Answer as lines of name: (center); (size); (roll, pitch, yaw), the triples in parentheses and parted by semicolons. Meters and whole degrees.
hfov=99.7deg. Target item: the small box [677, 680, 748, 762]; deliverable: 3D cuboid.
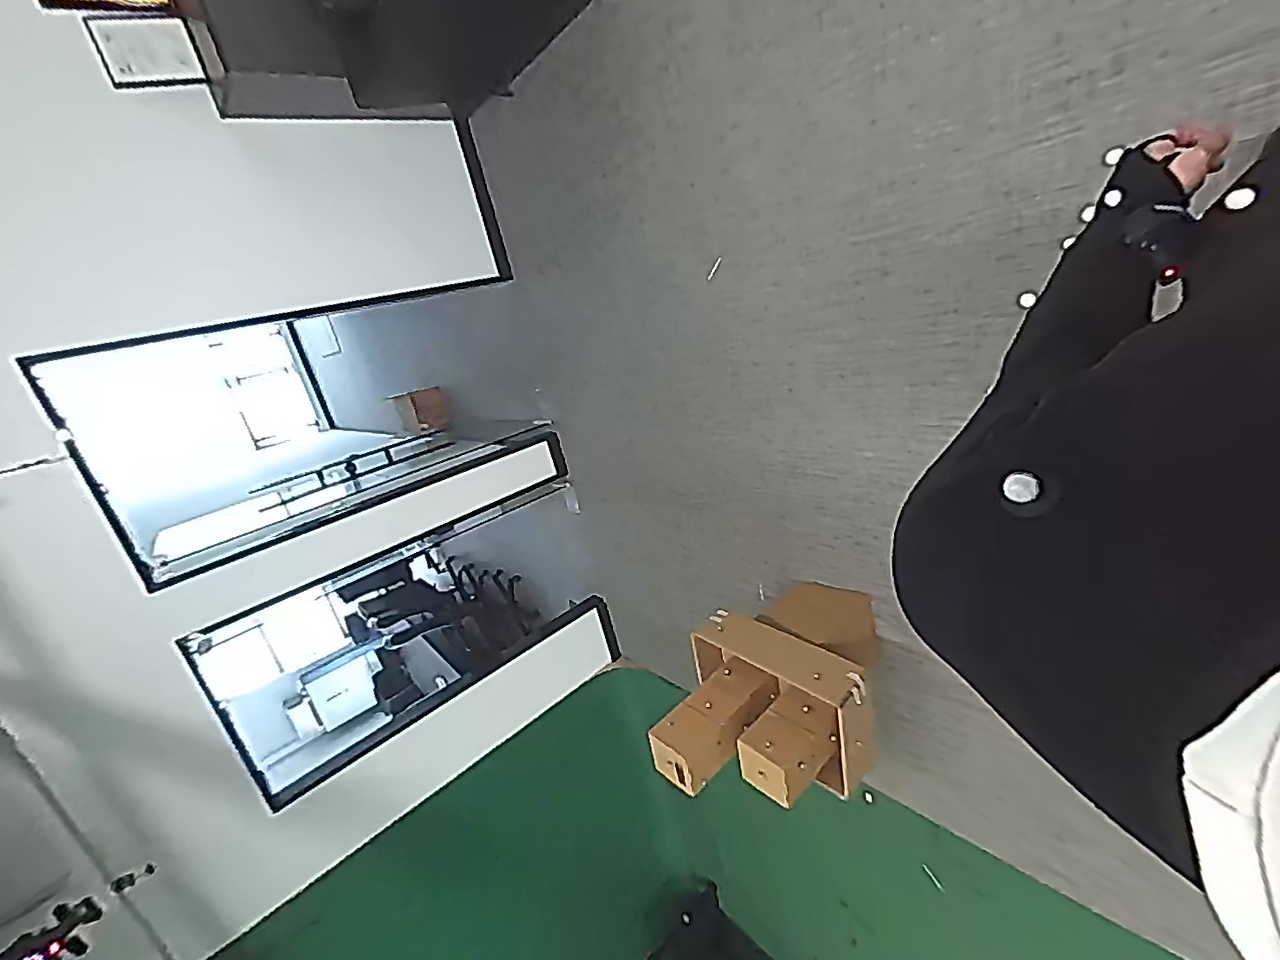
small box: (0.255, 0.831, 1.887); (0.179, 0.176, 0.168); (10, 118, 46)

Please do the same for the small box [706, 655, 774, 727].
small box: (0.370, 0.773, 1.984); (0.179, 0.176, 0.168); (12, 121, 47)

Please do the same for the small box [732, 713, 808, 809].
small box: (0.415, 0.873, 1.702); (0.179, 0.176, 0.168); (14, 121, 48)
